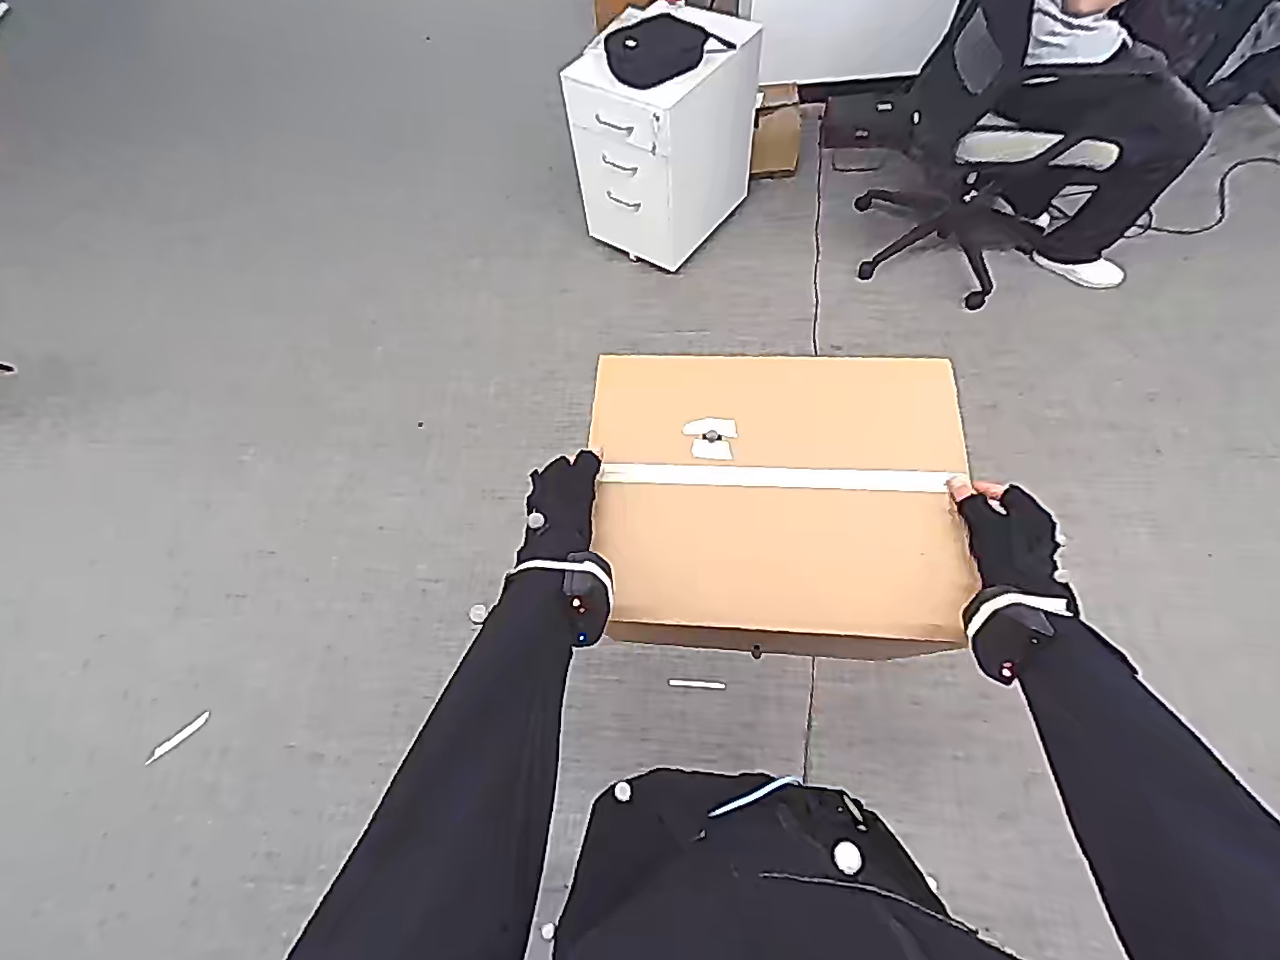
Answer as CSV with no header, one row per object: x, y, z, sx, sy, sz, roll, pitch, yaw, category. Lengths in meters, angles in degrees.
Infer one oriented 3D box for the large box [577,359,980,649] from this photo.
0.158,0.053,0.730,0.408,0.320,0.320,2,69,8,large box
